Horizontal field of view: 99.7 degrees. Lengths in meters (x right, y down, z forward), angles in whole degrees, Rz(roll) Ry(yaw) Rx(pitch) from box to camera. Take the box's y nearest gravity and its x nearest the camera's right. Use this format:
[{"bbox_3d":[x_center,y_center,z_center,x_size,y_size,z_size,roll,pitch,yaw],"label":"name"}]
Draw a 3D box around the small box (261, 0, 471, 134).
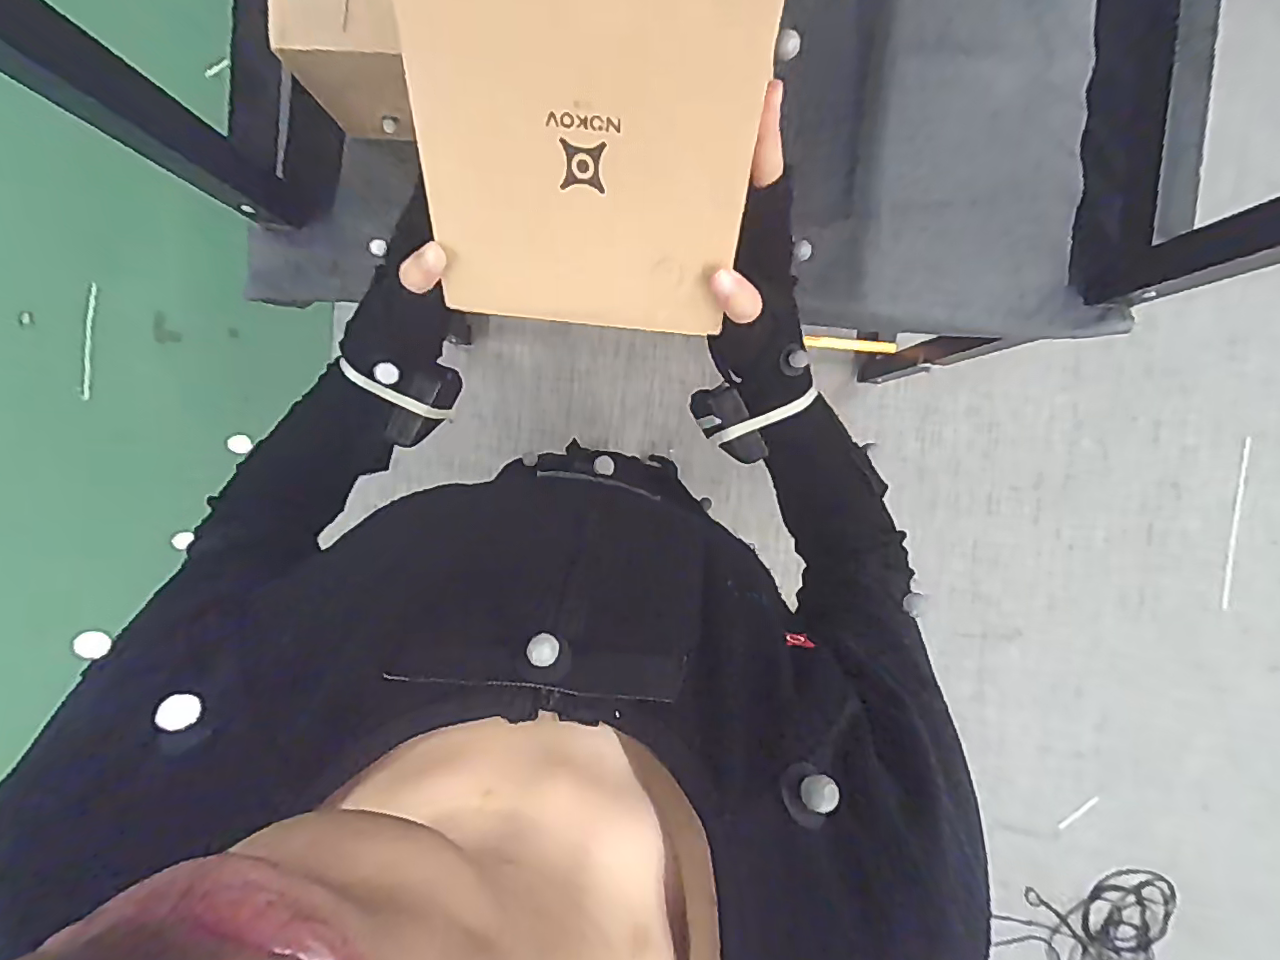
[{"bbox_3d":[-0.306,-0.549,0.635,0.168,0.176,0.179,3,94,0],"label":"small box"}]
